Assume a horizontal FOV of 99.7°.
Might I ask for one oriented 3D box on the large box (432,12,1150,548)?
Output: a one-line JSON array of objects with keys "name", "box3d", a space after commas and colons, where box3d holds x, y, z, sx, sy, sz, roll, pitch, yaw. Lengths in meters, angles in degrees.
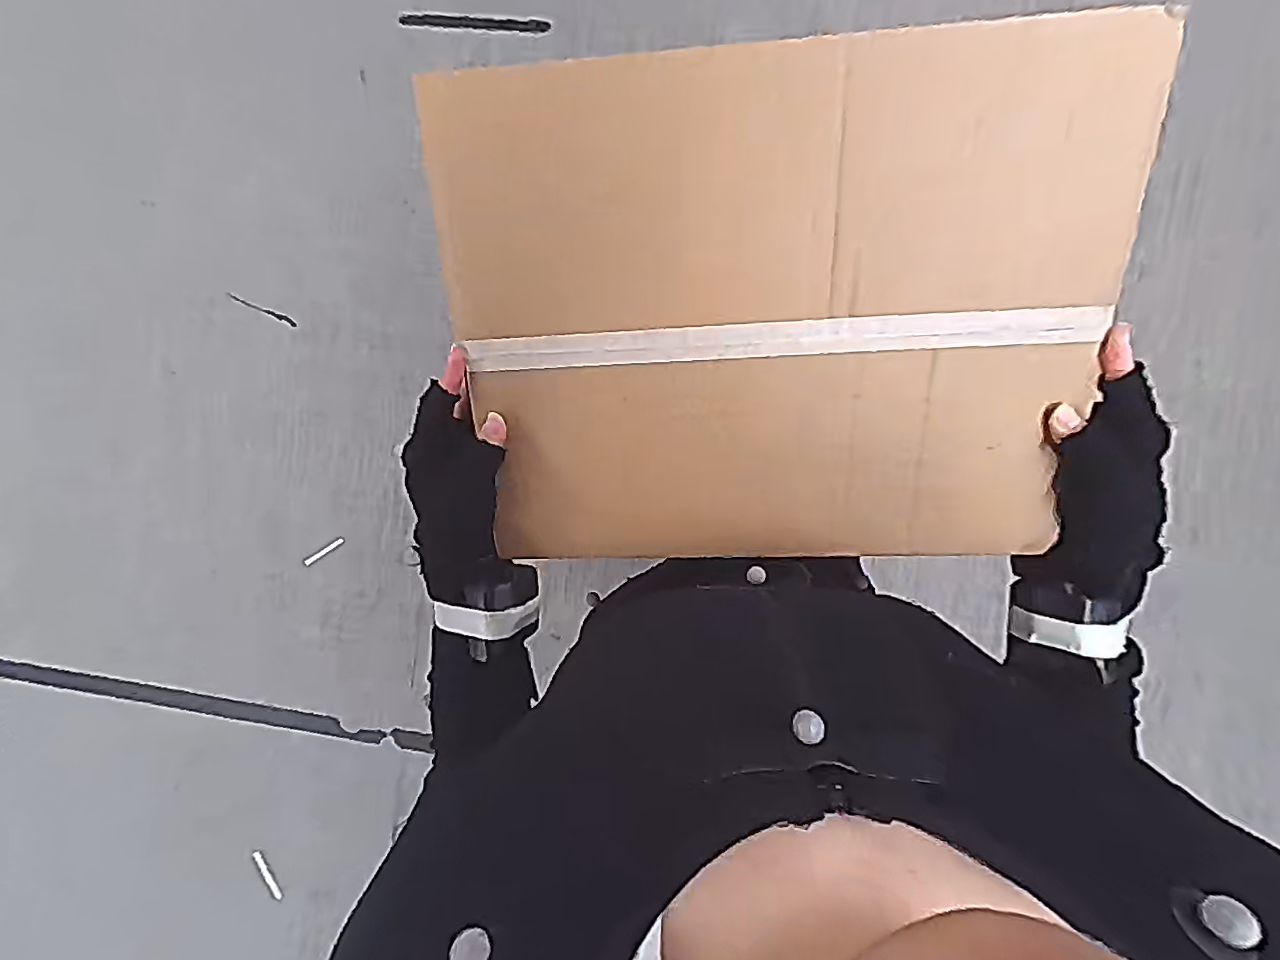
[{"name": "large box", "box3d": [0.091, -0.149, 0.492, 0.408, 0.320, 0.320, -1, 112, 5]}]
